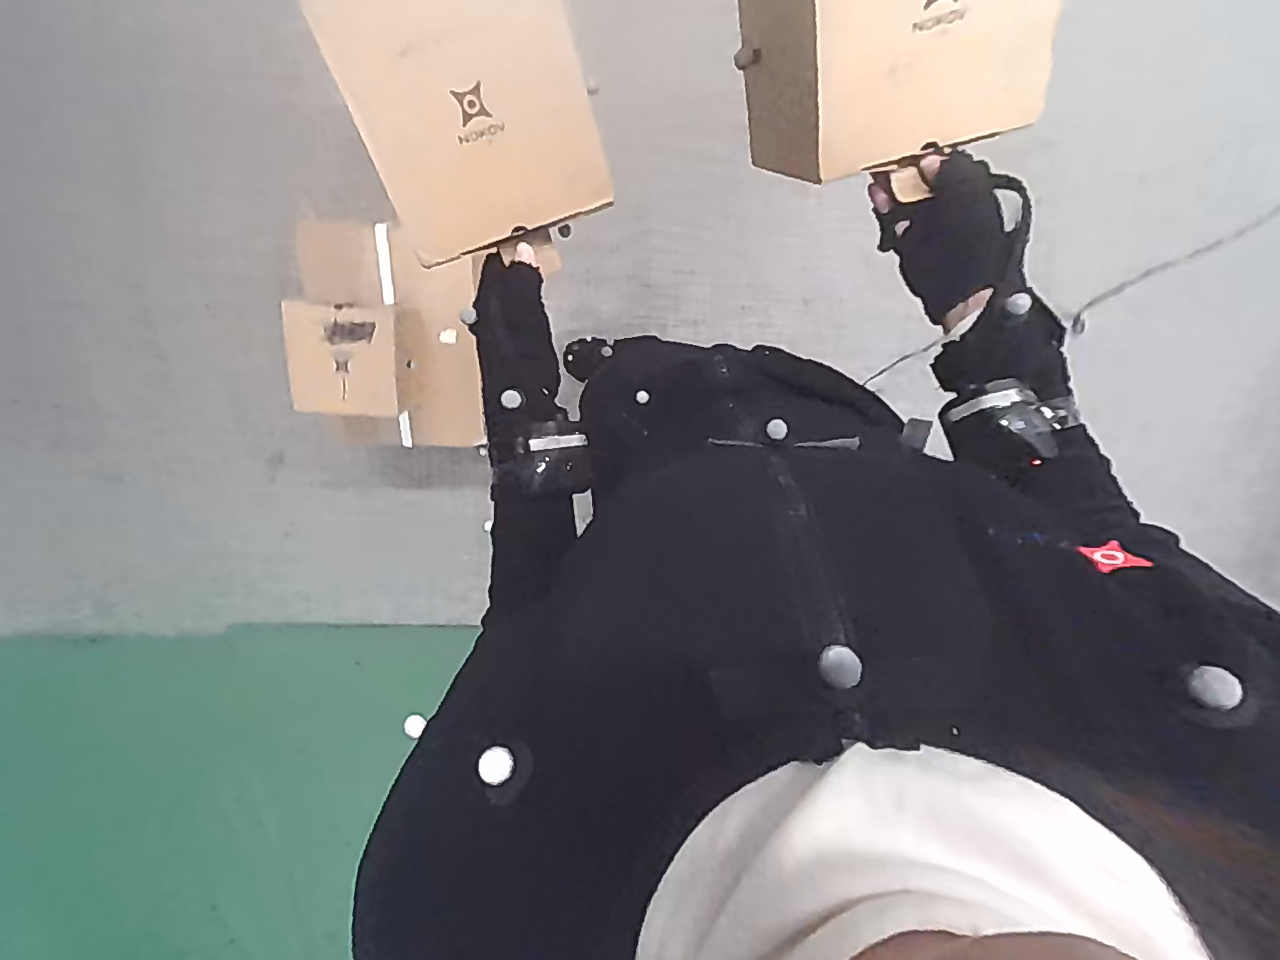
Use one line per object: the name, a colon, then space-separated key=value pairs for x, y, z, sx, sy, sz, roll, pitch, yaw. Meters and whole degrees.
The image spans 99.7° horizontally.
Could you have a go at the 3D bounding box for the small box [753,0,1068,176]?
small box: x=0.190 y=-0.357 z=0.414 sx=0.168 sy=0.176 sz=0.179 roll=-13 pitch=127 yaw=0

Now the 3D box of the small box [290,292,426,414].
small box: x=-0.480 y=-0.224 z=0.942 sx=0.168 sy=0.176 sz=0.179 roll=6 pitch=108 yaw=-8
